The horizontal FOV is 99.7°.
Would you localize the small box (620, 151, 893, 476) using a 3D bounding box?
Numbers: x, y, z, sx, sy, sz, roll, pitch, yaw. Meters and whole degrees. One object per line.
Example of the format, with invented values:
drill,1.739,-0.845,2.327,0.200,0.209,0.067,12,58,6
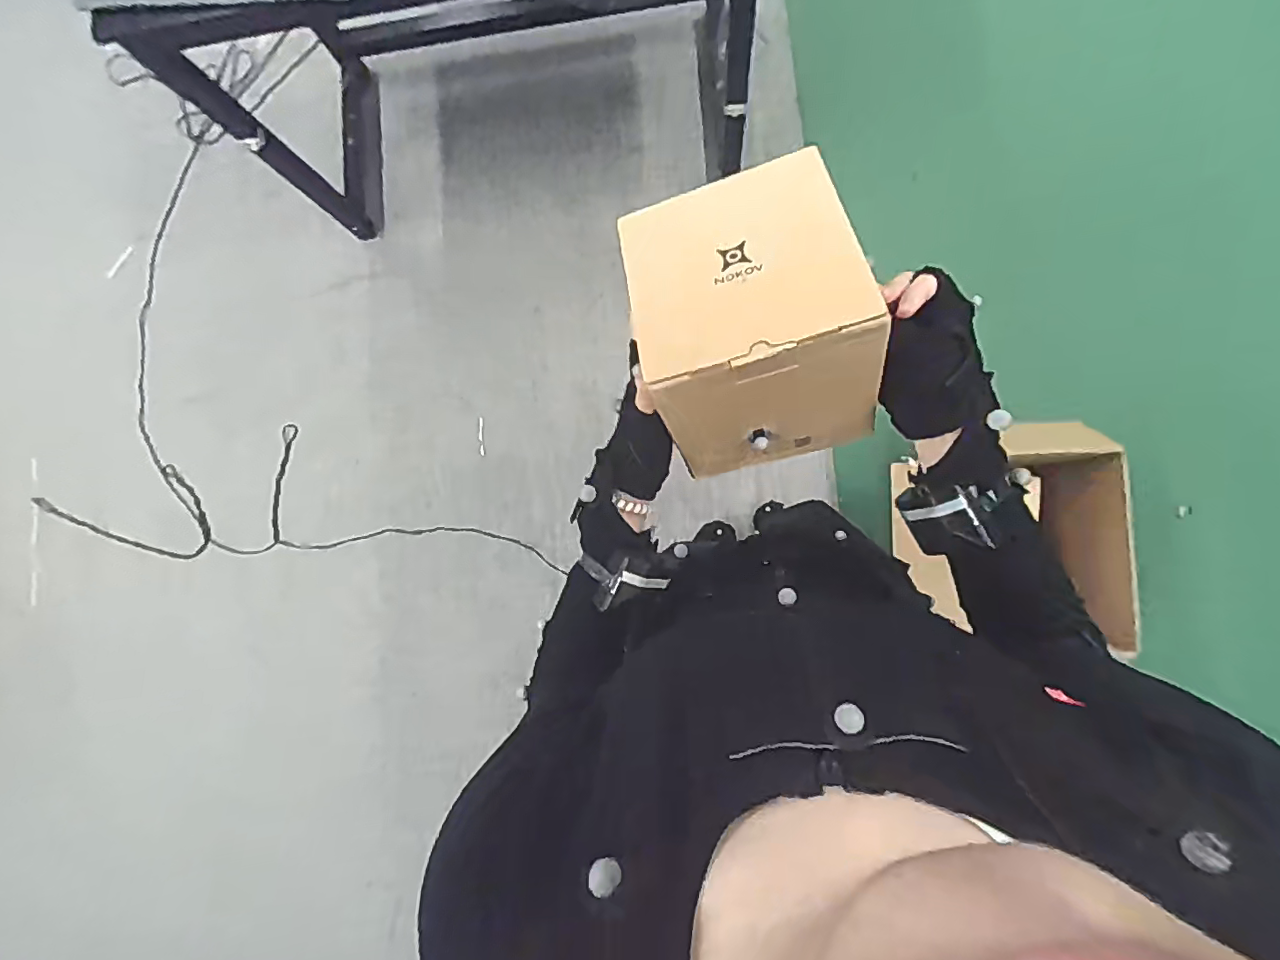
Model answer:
small box,0.095,-0.128,0.466,0.168,0.176,0.179,-16,64,11
